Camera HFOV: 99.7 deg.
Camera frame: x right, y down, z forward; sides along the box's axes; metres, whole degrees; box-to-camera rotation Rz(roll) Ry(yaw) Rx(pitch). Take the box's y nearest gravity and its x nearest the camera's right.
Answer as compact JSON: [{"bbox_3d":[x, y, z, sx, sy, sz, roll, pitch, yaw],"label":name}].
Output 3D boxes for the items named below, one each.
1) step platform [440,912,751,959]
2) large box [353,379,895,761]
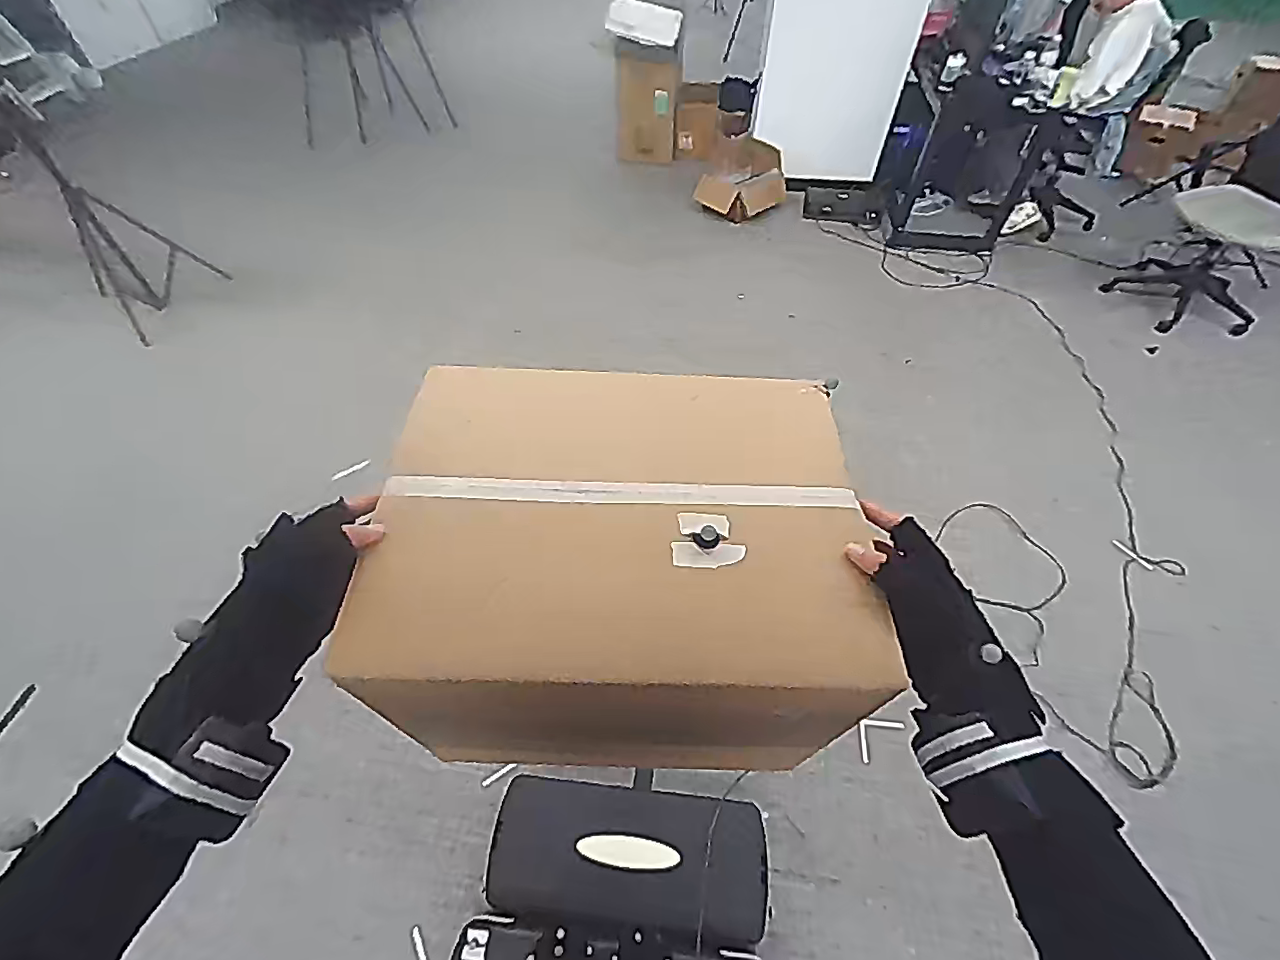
[{"bbox_3d":[-0.094,1.116,1.118,0.684,0.204,0.286,4,52,5],"label":"step platform"},{"bbox_3d":[-0.016,0.110,0.596,0.408,0.320,0.320,2,53,-2],"label":"large box"}]
